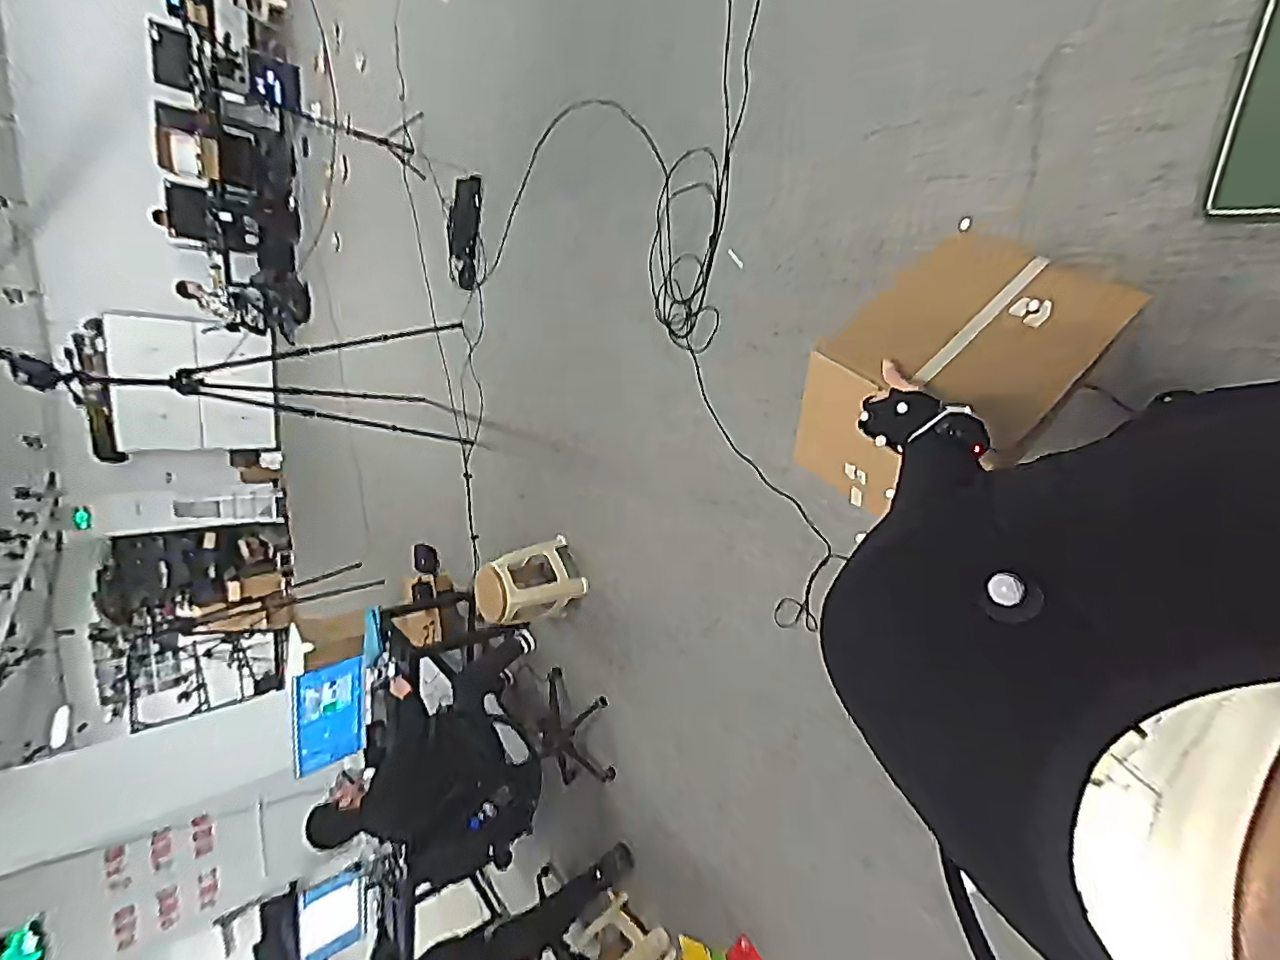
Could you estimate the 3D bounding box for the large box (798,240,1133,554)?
[{"bbox_3d":[0.542,-0.148,0.970,0.320,0.408,0.320,41,159,28],"label":"large box"}]
